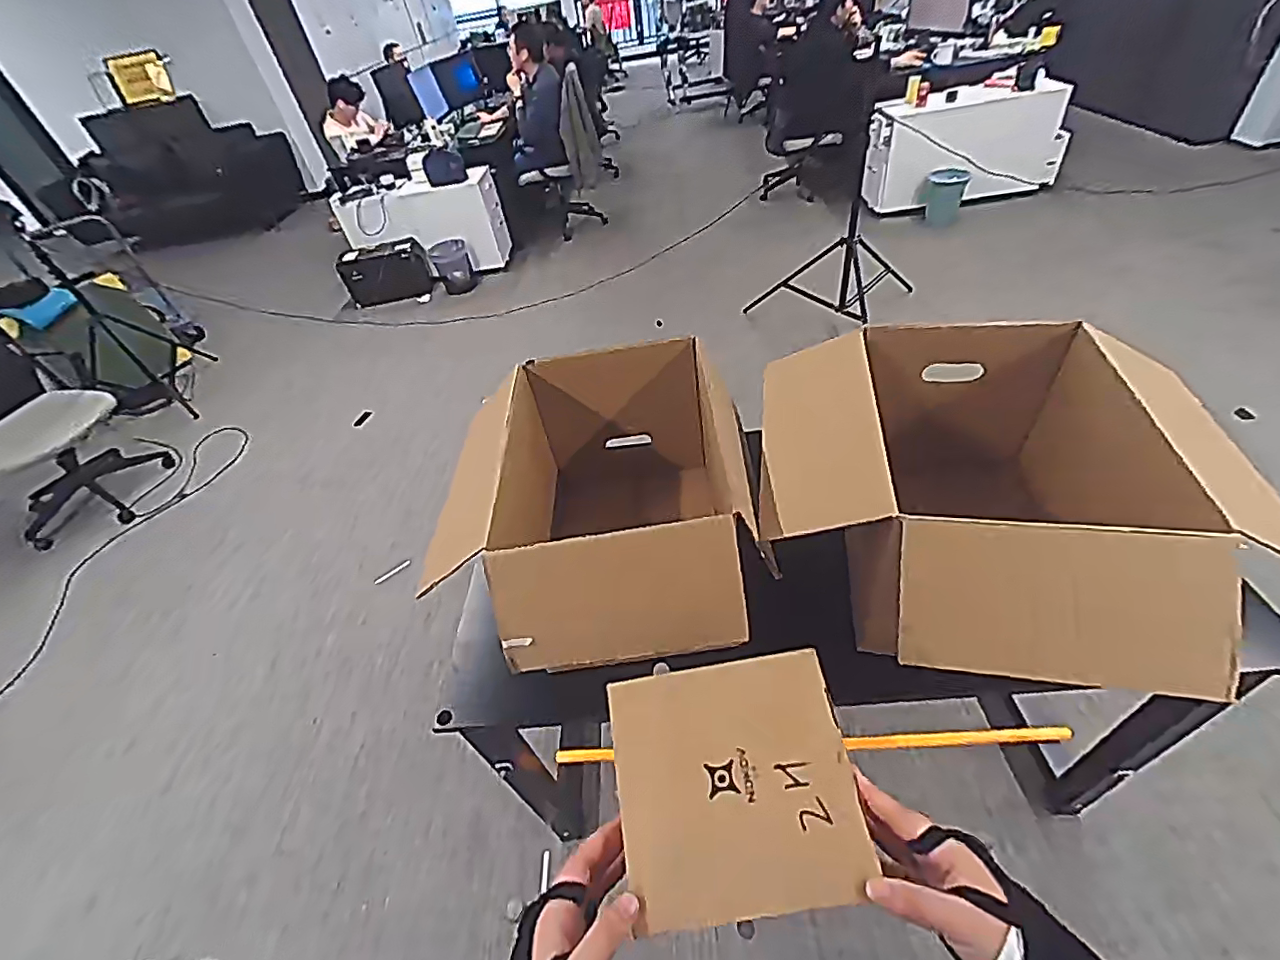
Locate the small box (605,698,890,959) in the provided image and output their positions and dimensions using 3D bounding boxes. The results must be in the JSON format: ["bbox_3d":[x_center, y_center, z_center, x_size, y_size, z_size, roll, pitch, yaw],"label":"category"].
[{"bbox_3d":[0.076,0.294,0.455,0.179,0.176,0.168,-10,60,1],"label":"small box"}]
